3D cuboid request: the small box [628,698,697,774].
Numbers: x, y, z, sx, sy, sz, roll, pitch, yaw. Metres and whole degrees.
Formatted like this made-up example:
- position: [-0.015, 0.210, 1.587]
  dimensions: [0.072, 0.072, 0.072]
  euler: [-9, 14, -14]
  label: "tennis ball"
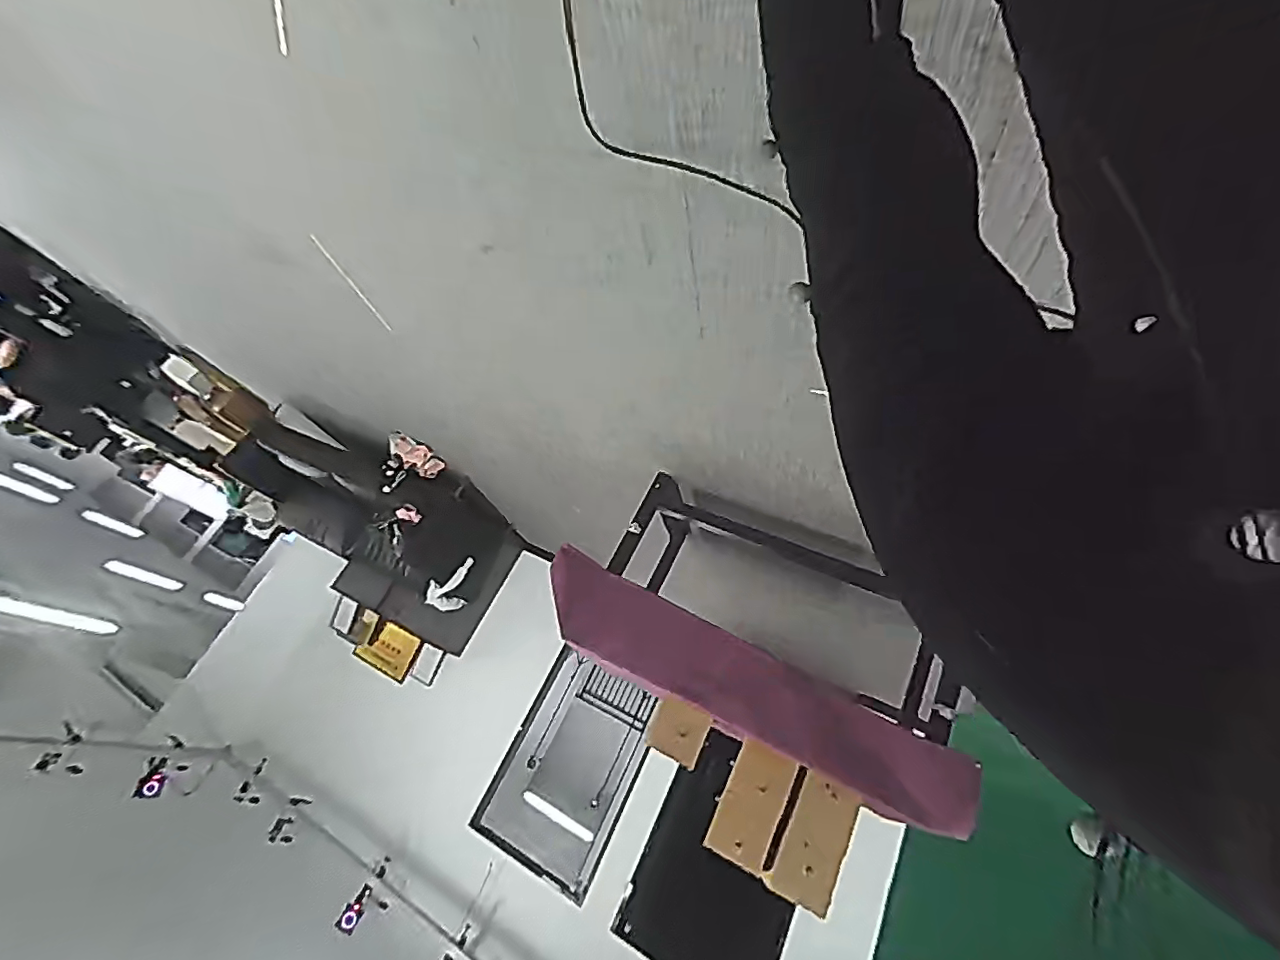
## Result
- position: [0.077, 0.842, 1.786]
  dimensions: [0.179, 0.176, 0.168]
  euler: [23, 157, 13]
  label: "small box"
